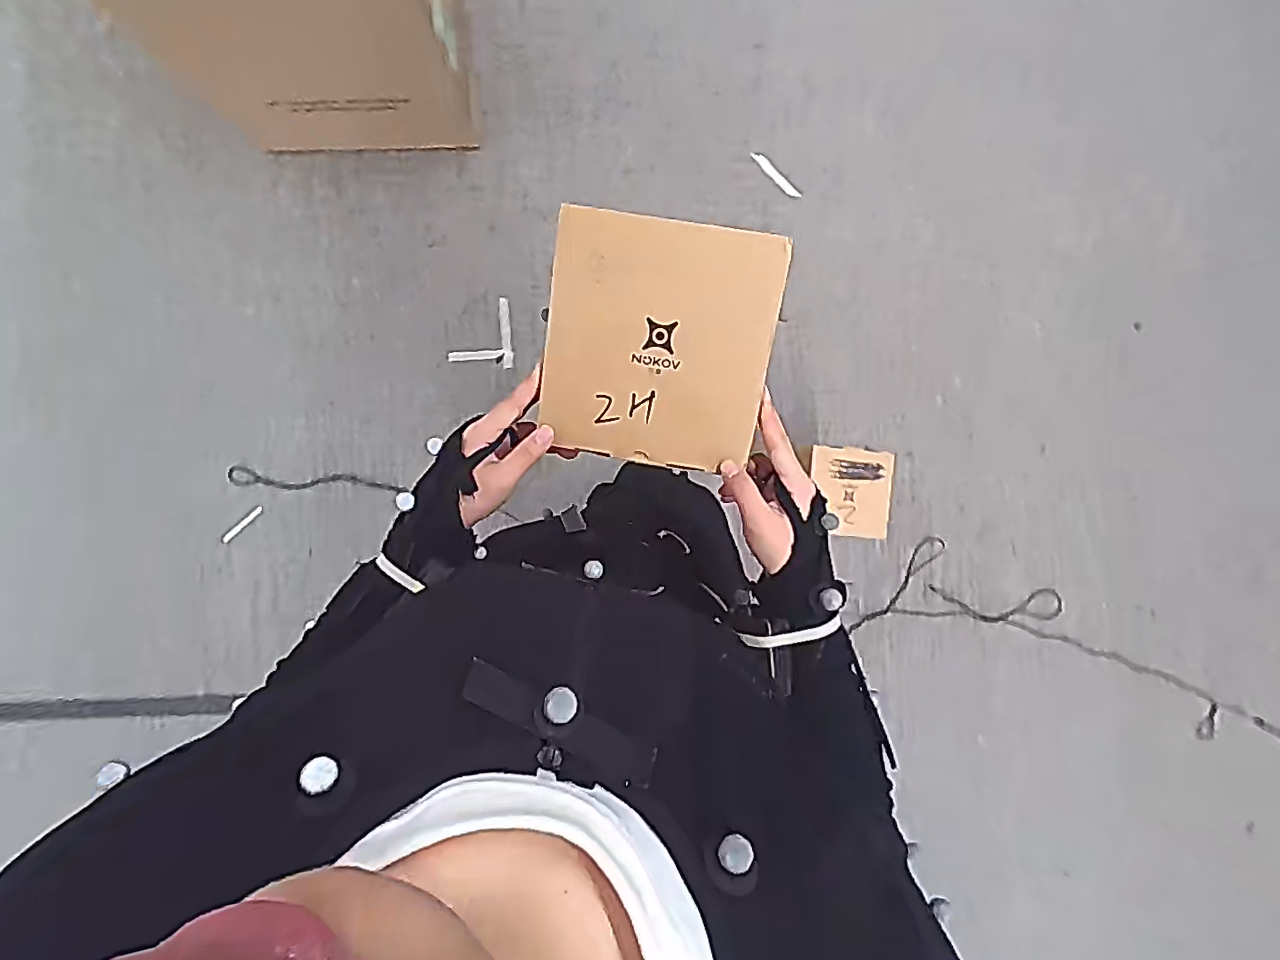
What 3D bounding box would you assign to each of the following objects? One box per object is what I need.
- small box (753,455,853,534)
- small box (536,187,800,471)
[{"bbox_3d":[0.385,0.031,1.301,0.179,0.176,0.168,6,90,-2],"label":"small box"},{"bbox_3d":[0.020,-0.121,0.462,0.168,0.176,0.179,10,104,2],"label":"small box"}]
